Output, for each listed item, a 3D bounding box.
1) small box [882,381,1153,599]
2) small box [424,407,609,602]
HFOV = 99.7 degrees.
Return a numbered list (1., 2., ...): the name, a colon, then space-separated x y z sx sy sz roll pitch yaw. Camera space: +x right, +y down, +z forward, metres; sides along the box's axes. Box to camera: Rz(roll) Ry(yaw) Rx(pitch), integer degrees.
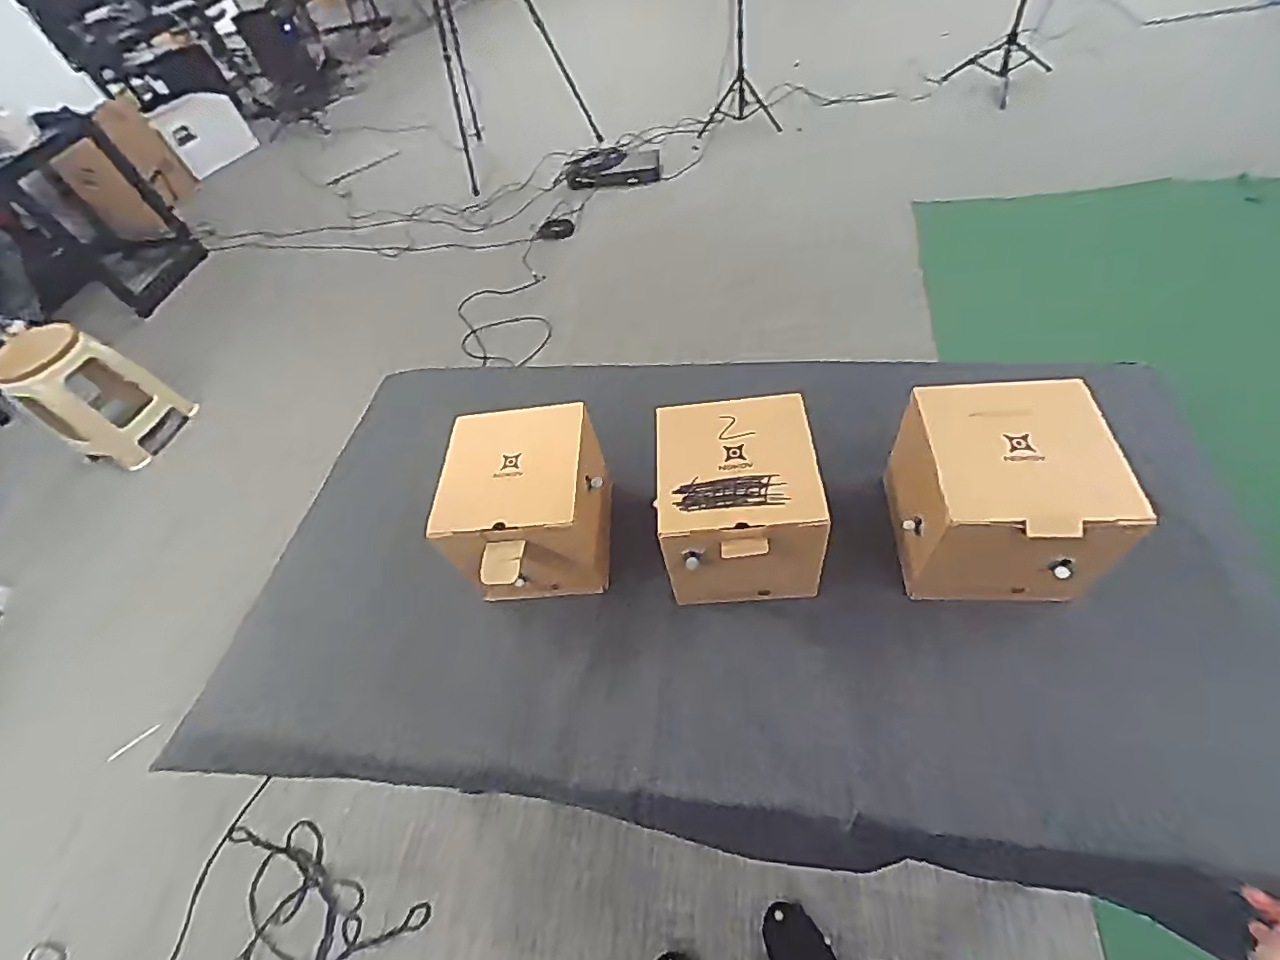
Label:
1. small box: 0.376 0.018 0.584 0.168 0.176 0.179 -2 53 9
2. small box: -0.136 0.035 0.673 0.168 0.176 0.179 -6 54 7
